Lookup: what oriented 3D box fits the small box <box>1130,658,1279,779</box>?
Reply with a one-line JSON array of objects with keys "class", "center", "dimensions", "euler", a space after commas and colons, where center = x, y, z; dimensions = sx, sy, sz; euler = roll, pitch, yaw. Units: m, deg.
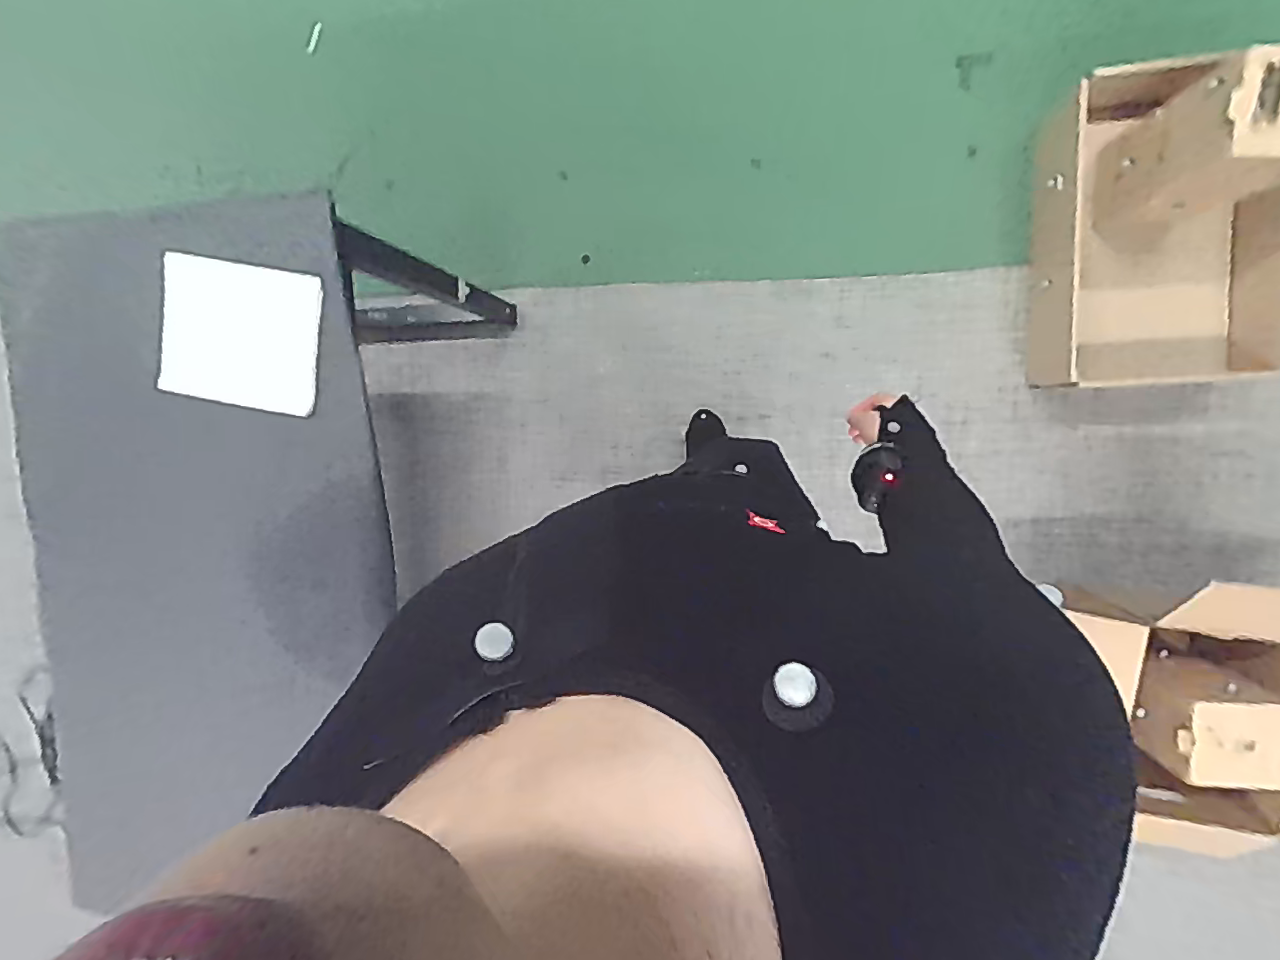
[{"class": "small box", "center": [1.151, 0.470, 1.090], "dimensions": [0.179, 0.176, 0.168], "euler": [-1, 94, 9]}]

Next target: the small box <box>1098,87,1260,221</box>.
[{"class": "small box", "center": [1.076, -0.649, 1.096], "dimensions": [0.168, 0.176, 0.179], "euler": [-1, 98, 8]}]
